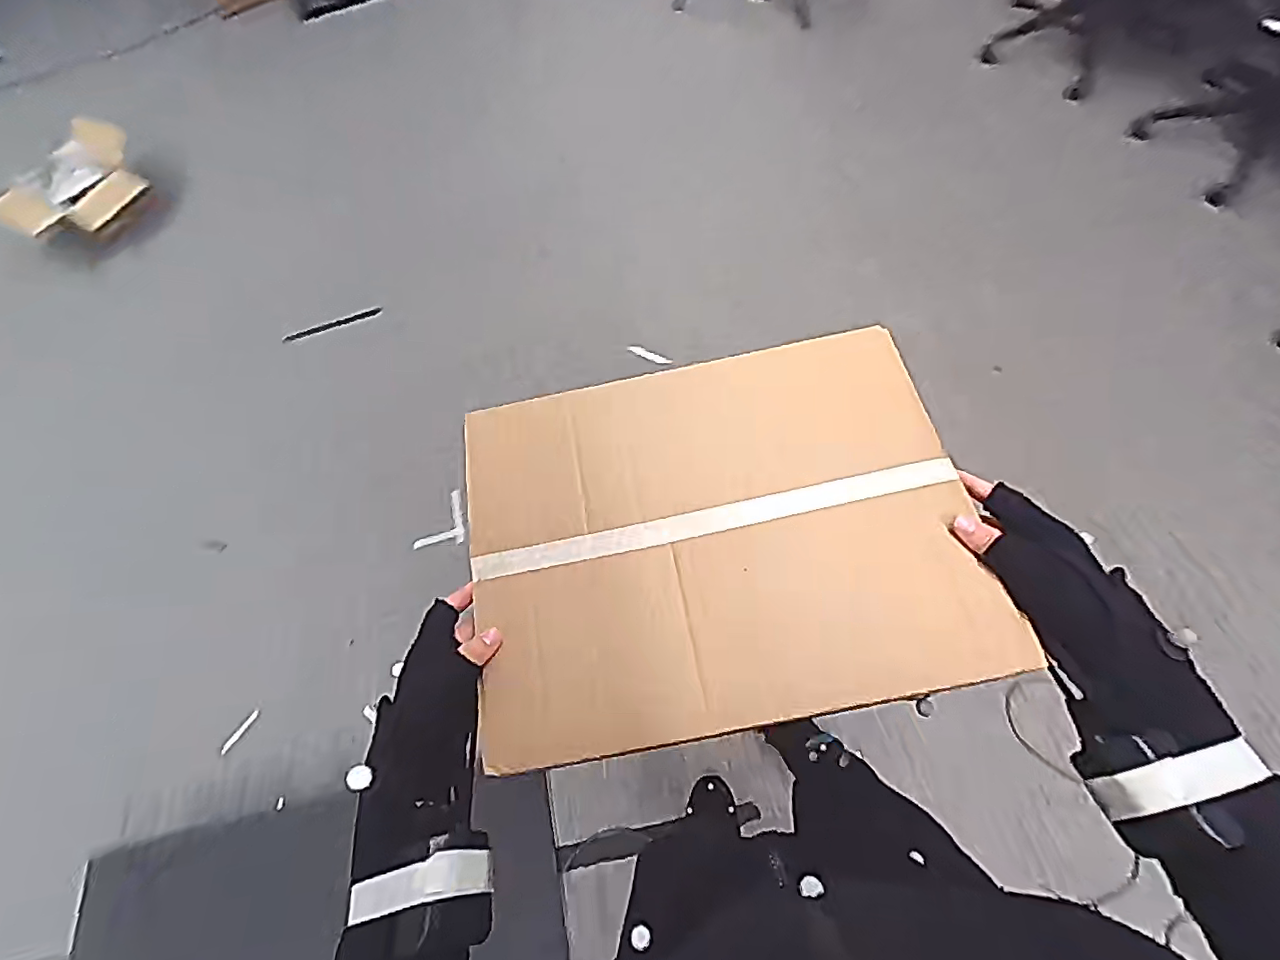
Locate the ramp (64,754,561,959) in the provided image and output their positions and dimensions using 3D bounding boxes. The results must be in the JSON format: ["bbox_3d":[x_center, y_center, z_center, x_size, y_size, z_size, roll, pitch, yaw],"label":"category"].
[{"bbox_3d":[-0.692,0.950,1.165,0.991,0.206,0.509,-16,63,1],"label":"ramp"}]

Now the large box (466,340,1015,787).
[{"bbox_3d":[0.071,0.104,0.593,0.408,0.320,0.320,-13,64,0],"label":"large box"}]
